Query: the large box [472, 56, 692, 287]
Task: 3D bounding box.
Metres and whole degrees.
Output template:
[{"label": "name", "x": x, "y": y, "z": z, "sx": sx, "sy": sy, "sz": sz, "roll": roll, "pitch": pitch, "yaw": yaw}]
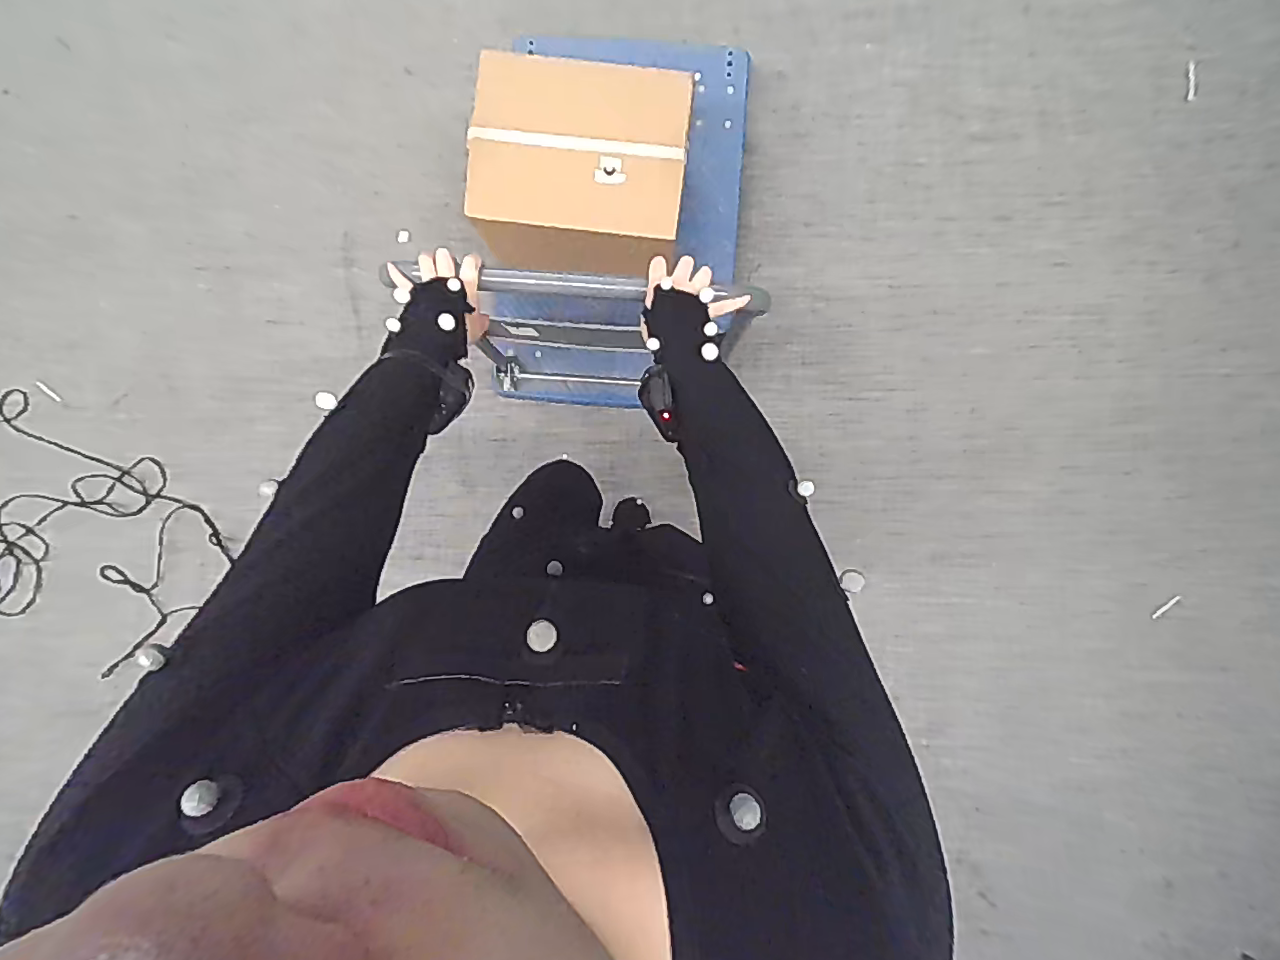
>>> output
[{"label": "large box", "x": -0.114, "y": -0.639, "z": 1.178, "sx": 0.408, "sy": 0.320, "sz": 0.320, "roll": 6, "pitch": 91, "yaw": 0}]
